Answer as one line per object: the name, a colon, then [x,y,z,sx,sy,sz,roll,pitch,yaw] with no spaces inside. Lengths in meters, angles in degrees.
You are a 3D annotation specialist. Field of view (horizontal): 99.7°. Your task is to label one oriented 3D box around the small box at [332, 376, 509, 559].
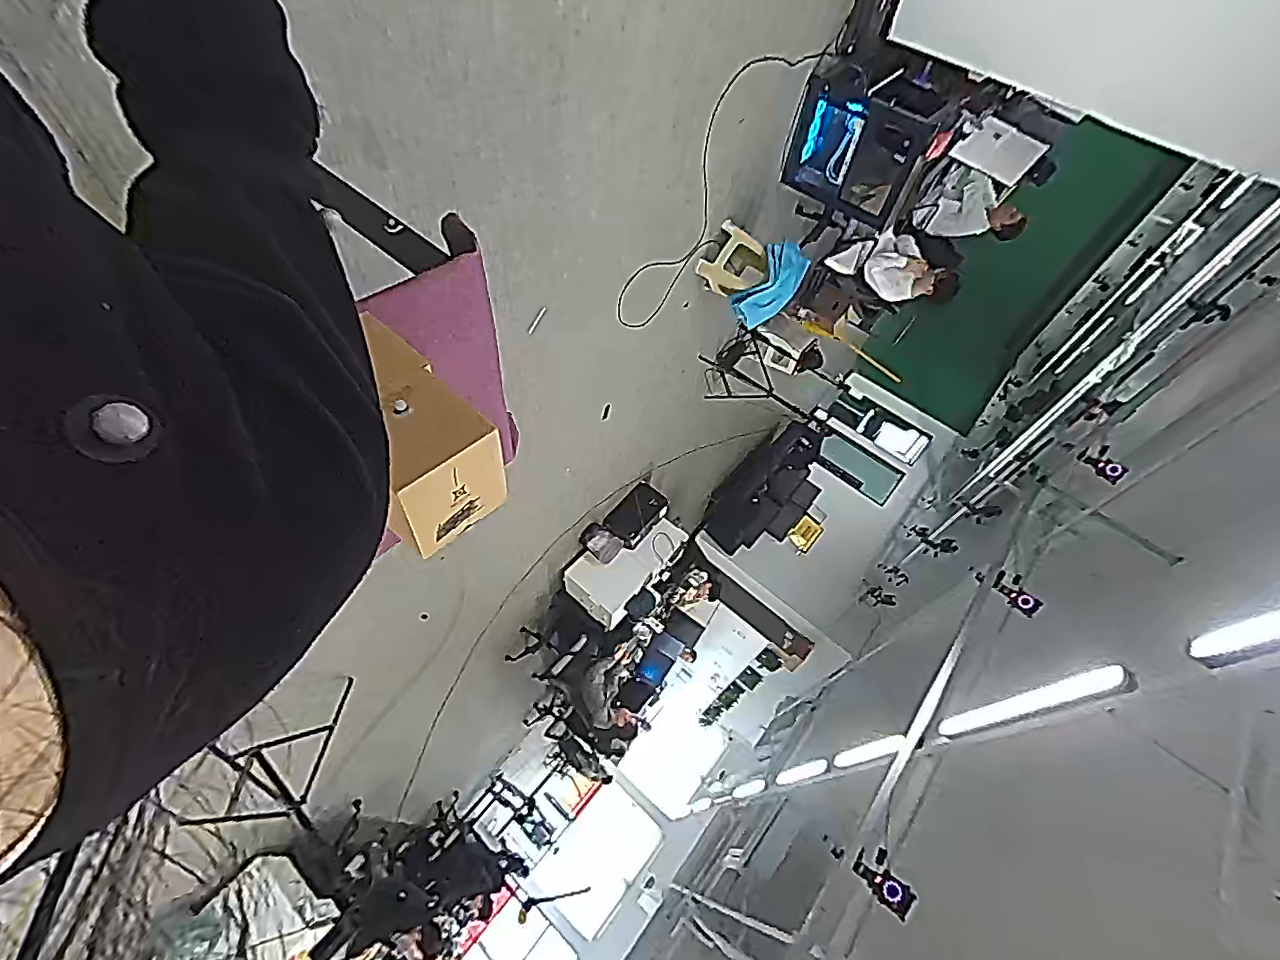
small box: [-0.319,-0.022,0.810,0.168,0.176,0.179,-41,158,-32]
